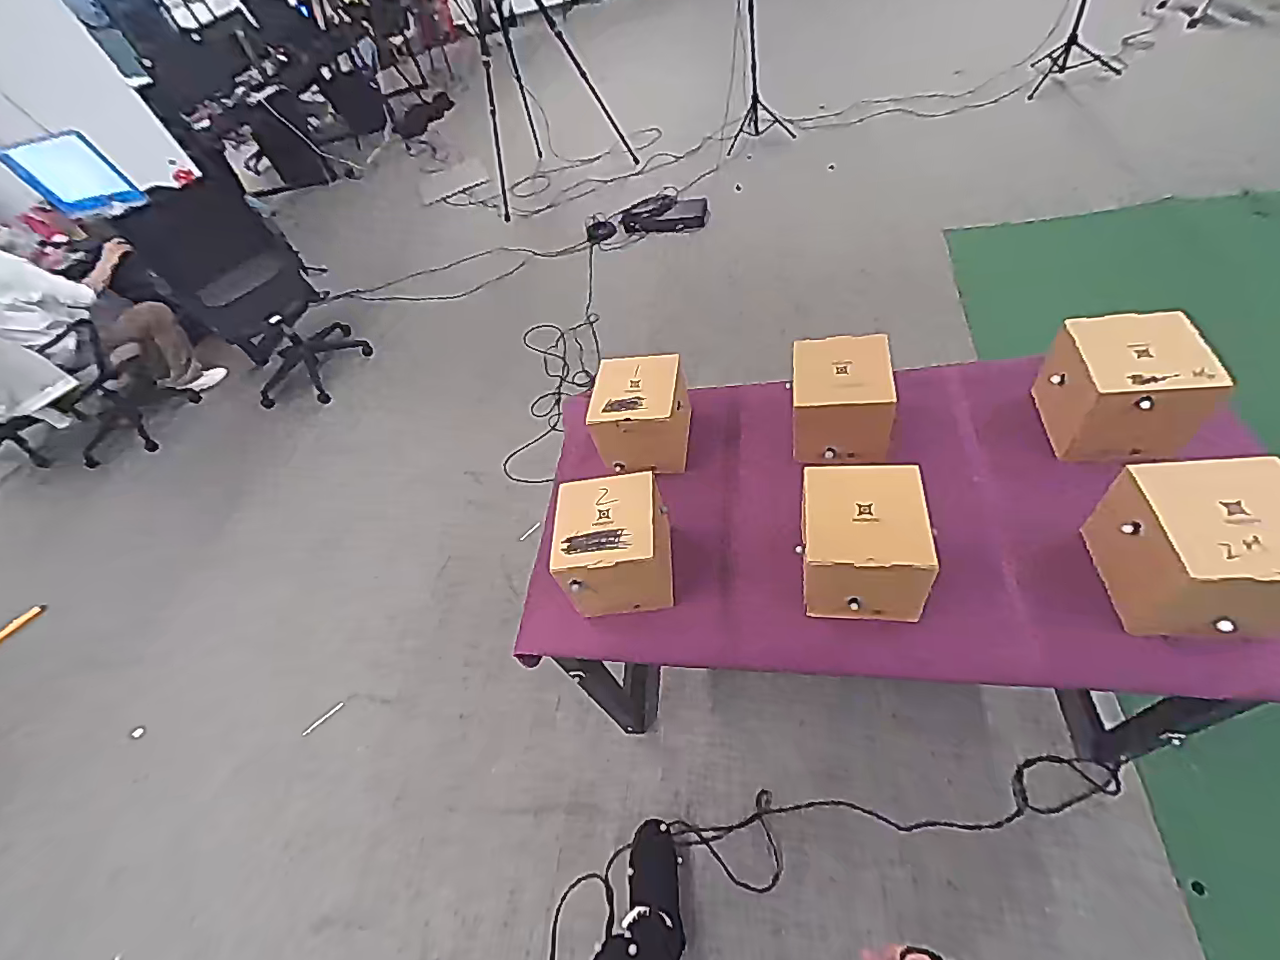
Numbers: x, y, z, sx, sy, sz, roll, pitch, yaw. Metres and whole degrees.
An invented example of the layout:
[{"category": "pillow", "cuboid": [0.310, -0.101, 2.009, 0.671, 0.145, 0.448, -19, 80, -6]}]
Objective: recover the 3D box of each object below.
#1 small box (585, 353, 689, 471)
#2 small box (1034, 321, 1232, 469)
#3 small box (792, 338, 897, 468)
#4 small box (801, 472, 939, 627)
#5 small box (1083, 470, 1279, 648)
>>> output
[{"category": "small box", "cuboid": [0.004, -0.131, 1.092, 0.168, 0.176, 0.179, 0, 55, 14]}, {"category": "small box", "cuboid": [0.794, -0.138, 0.900, 0.168, 0.176, 0.179, -1, 54, 15]}, {"category": "small box", "cuboid": [0.373, -0.142, 1.012, 0.168, 0.176, 0.179, 1, 55, 16]}, {"category": "small box", "cuboid": [0.339, 0.106, 0.833, 0.168, 0.176, 0.179, 0, 53, 14]}, {"category": "small box", "cuboid": [0.744, 0.107, 0.724, 0.168, 0.176, 0.179, -3, 53, 14]}]
